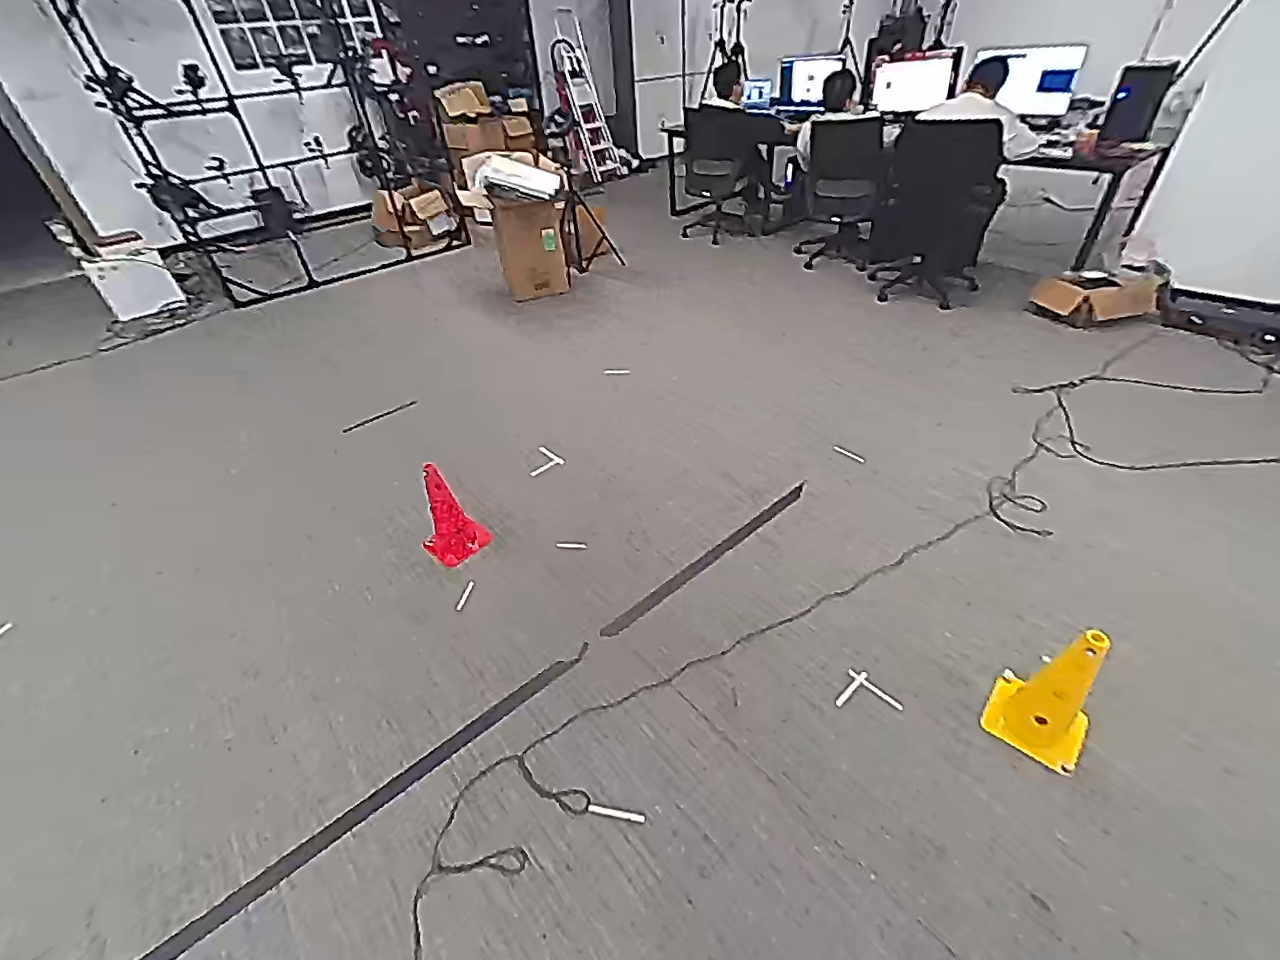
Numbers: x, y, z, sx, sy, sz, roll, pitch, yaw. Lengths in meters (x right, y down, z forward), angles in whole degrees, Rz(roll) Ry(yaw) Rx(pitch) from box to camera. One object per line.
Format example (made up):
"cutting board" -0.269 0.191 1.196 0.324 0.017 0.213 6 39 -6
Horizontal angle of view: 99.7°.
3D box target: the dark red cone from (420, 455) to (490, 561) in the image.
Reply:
"dark red cone" -0.693 0.081 1.895 0.201 0.394 0.202 27 49 33
